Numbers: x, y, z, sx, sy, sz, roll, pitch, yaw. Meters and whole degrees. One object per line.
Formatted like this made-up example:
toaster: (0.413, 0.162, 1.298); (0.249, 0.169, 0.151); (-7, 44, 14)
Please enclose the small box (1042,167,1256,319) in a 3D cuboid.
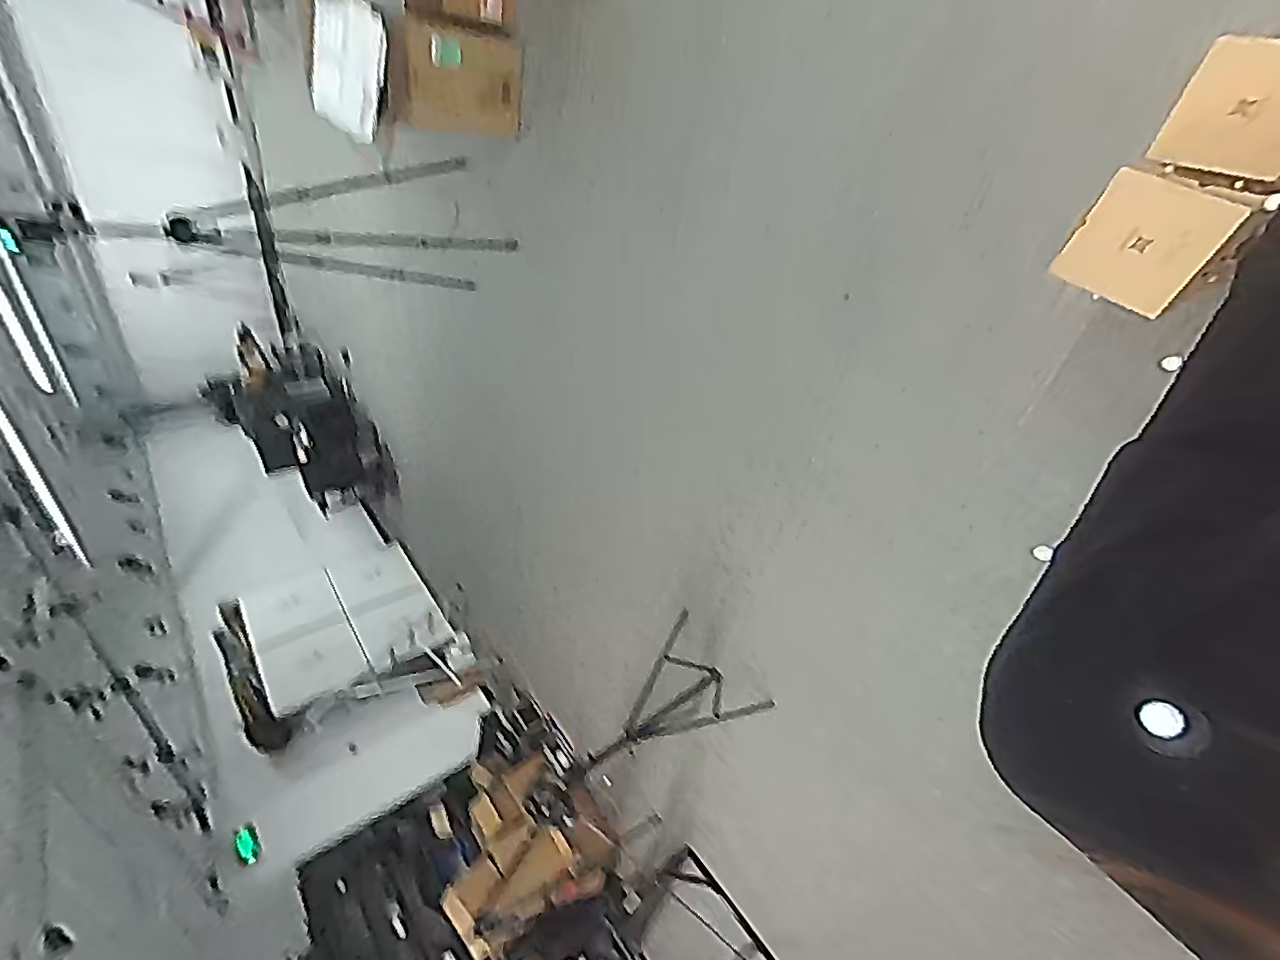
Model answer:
small box: (0.812, -0.380, 0.869); (0.179, 0.176, 0.168); (46, 139, 30)
